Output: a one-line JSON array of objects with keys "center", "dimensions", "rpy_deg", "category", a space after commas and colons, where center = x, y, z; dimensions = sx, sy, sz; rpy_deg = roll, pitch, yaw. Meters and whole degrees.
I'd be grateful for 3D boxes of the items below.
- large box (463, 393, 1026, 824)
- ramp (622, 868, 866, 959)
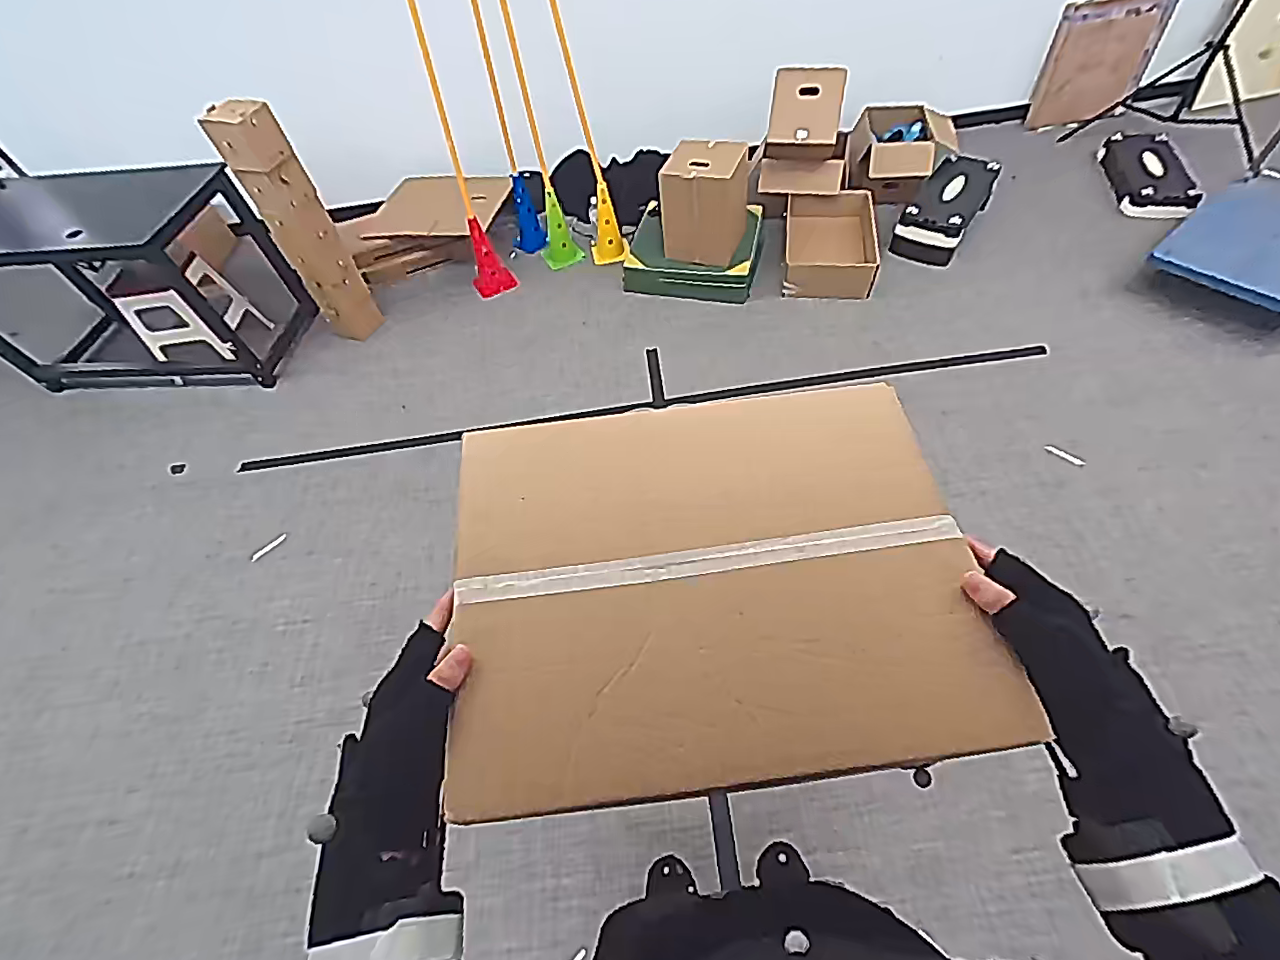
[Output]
[{"center": [0.065, 0.146, 0.573], "dimensions": [0.408, 0.320, 0.320], "rpy_deg": [-8, 59, -1], "category": "large box"}, {"center": [0.261, 1.318, 0.965], "dimensions": [0.509, 0.206, 0.991], "rpy_deg": [-9, 55, -1], "category": "ramp"}]
